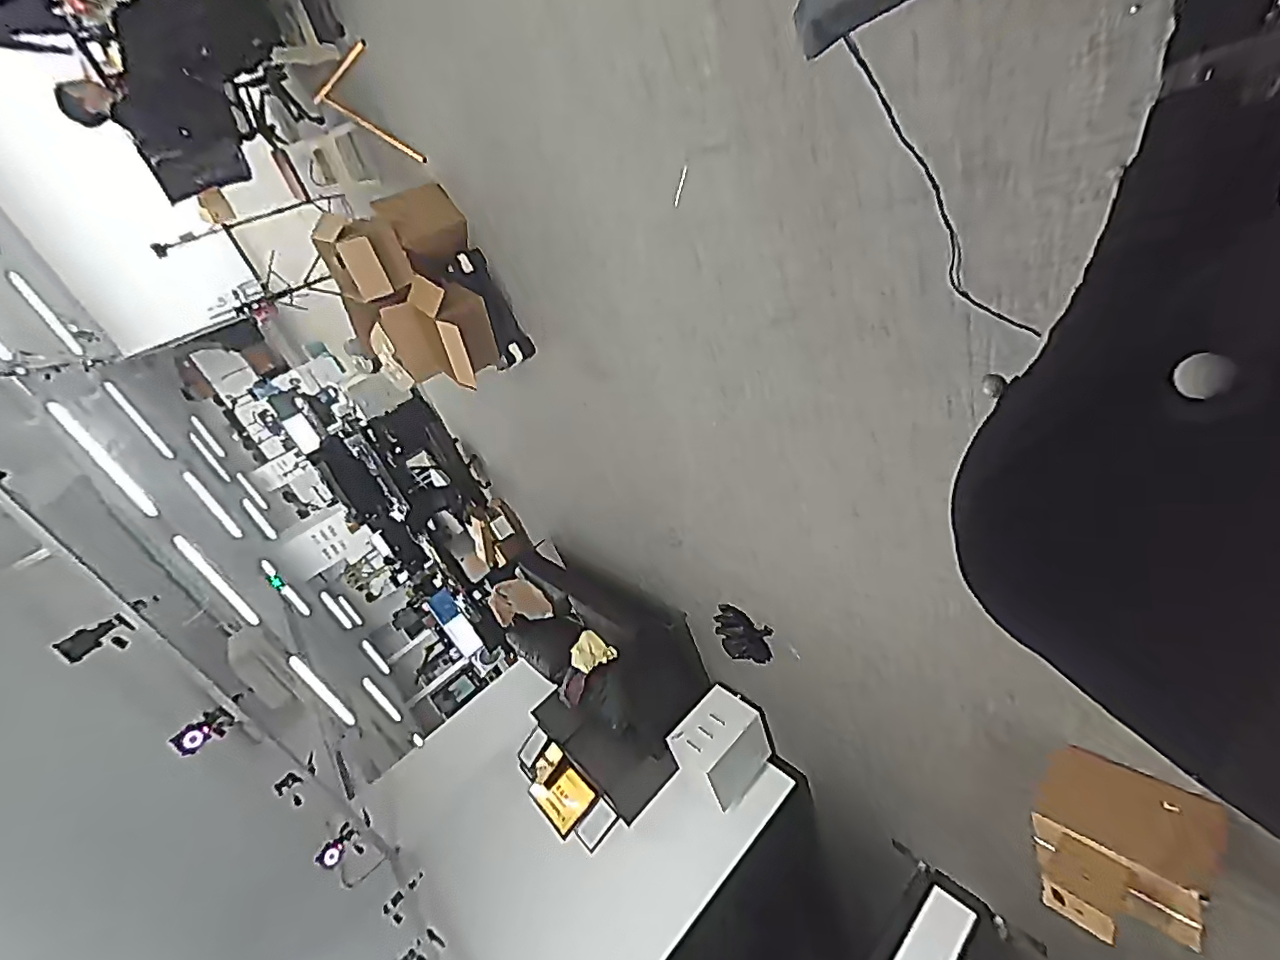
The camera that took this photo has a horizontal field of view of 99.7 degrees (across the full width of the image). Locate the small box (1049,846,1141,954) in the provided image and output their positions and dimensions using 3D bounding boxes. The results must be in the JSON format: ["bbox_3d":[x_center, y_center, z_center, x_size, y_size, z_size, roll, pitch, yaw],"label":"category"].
[{"bbox_3d":[1.382,1.263,1.646,0.179,0.176,0.168,14,133,51],"label":"small box"}]
